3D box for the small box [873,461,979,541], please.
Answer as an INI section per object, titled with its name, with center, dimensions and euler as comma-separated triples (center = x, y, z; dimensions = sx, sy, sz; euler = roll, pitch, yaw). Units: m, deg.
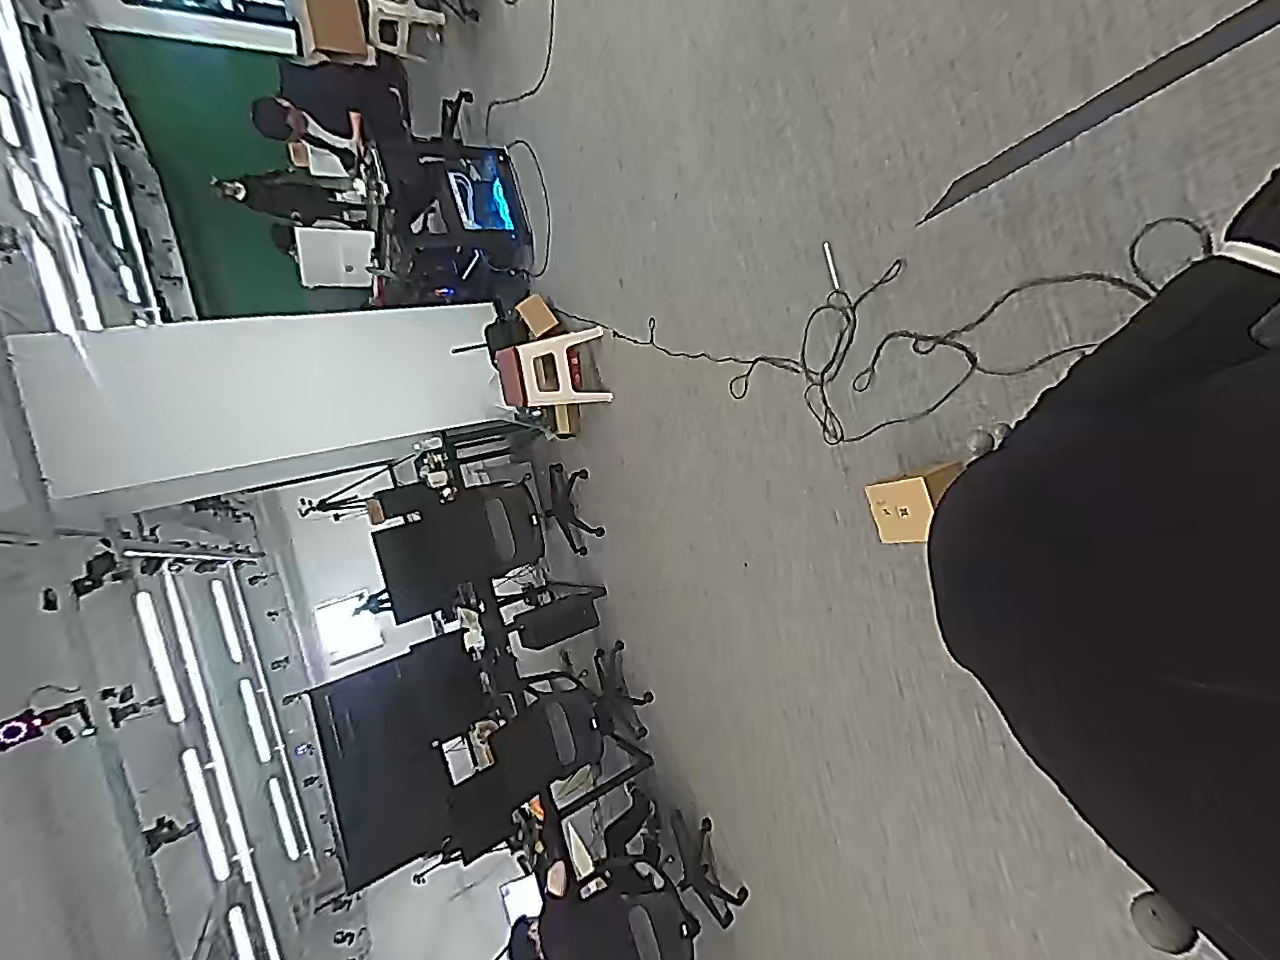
[small box]
center = 0.761, 0.055, 1.429
dimensions = 0.179, 0.176, 0.168
euler = -18, 88, 61
